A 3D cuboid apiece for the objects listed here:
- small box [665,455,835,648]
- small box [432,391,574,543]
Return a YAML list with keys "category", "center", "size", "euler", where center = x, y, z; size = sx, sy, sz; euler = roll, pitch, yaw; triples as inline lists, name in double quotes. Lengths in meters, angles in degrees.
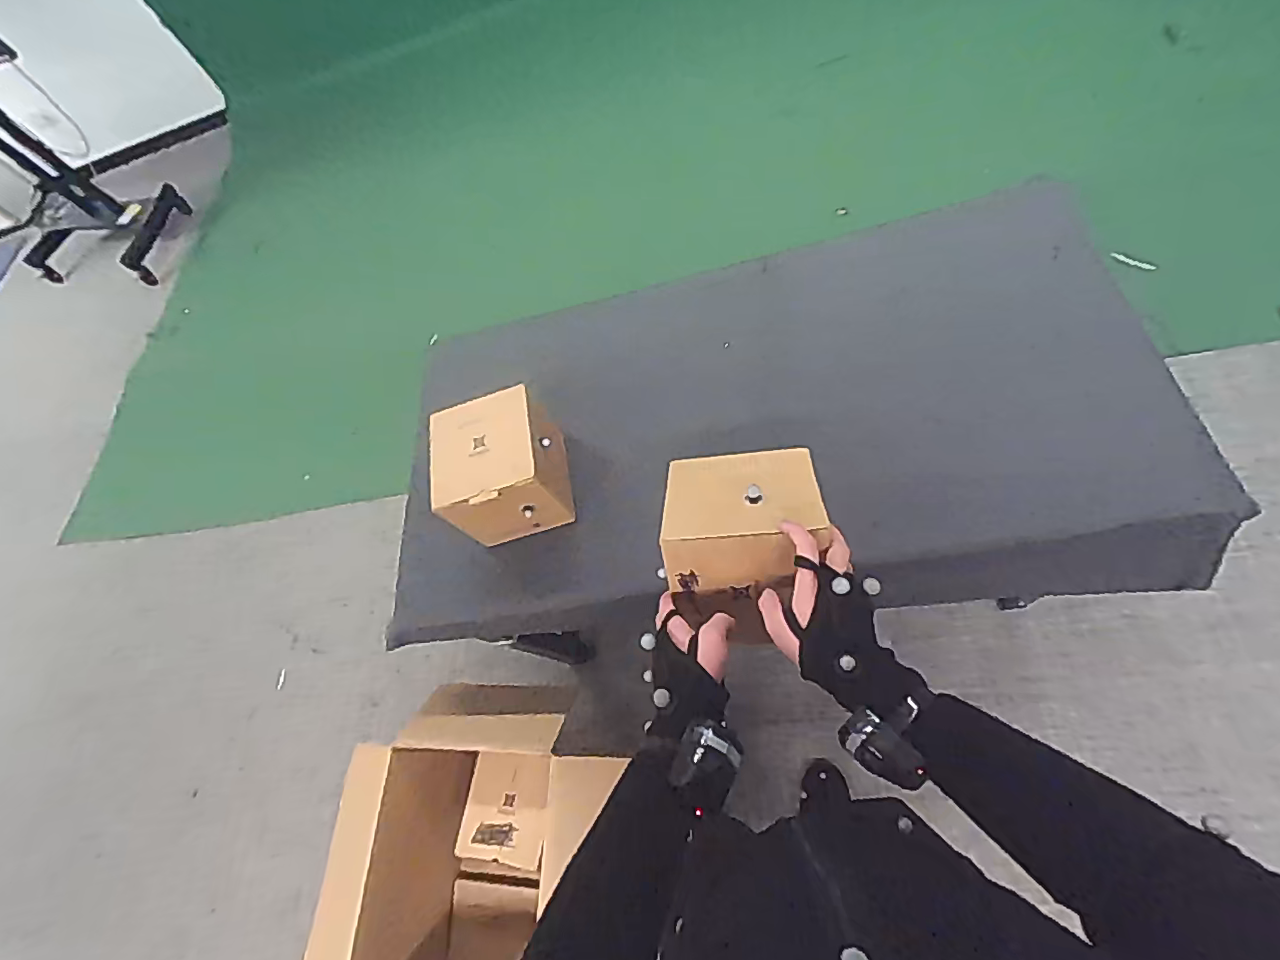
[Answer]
- category: "small box"
  center: [0.130, 0.082, 0.661]
  size: [0.179, 0.168, 0.176]
  euler: [-6, 30, 10]
- category: "small box"
  center: [-0.219, -0.010, 0.885]
  size: [0.168, 0.176, 0.179]
  euler: [-17, 60, 7]
